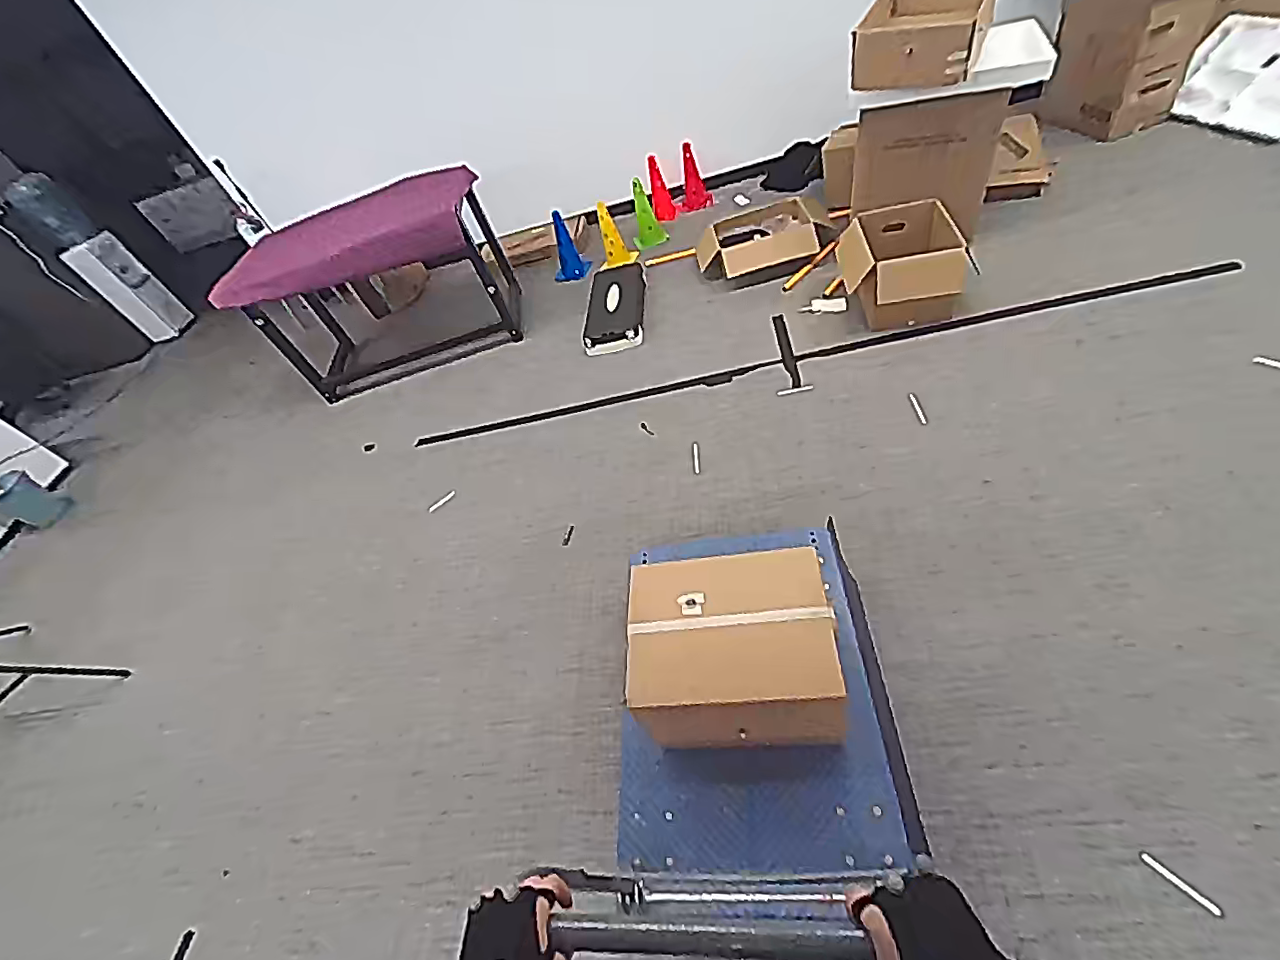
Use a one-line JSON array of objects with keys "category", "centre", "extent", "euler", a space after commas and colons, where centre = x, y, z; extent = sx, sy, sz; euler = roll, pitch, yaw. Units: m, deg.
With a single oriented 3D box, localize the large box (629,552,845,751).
[{"category": "large box", "centre": [0.213, 0.393, 1.200], "extent": [0.408, 0.320, 0.320], "euler": [-9, 48, 13]}]
